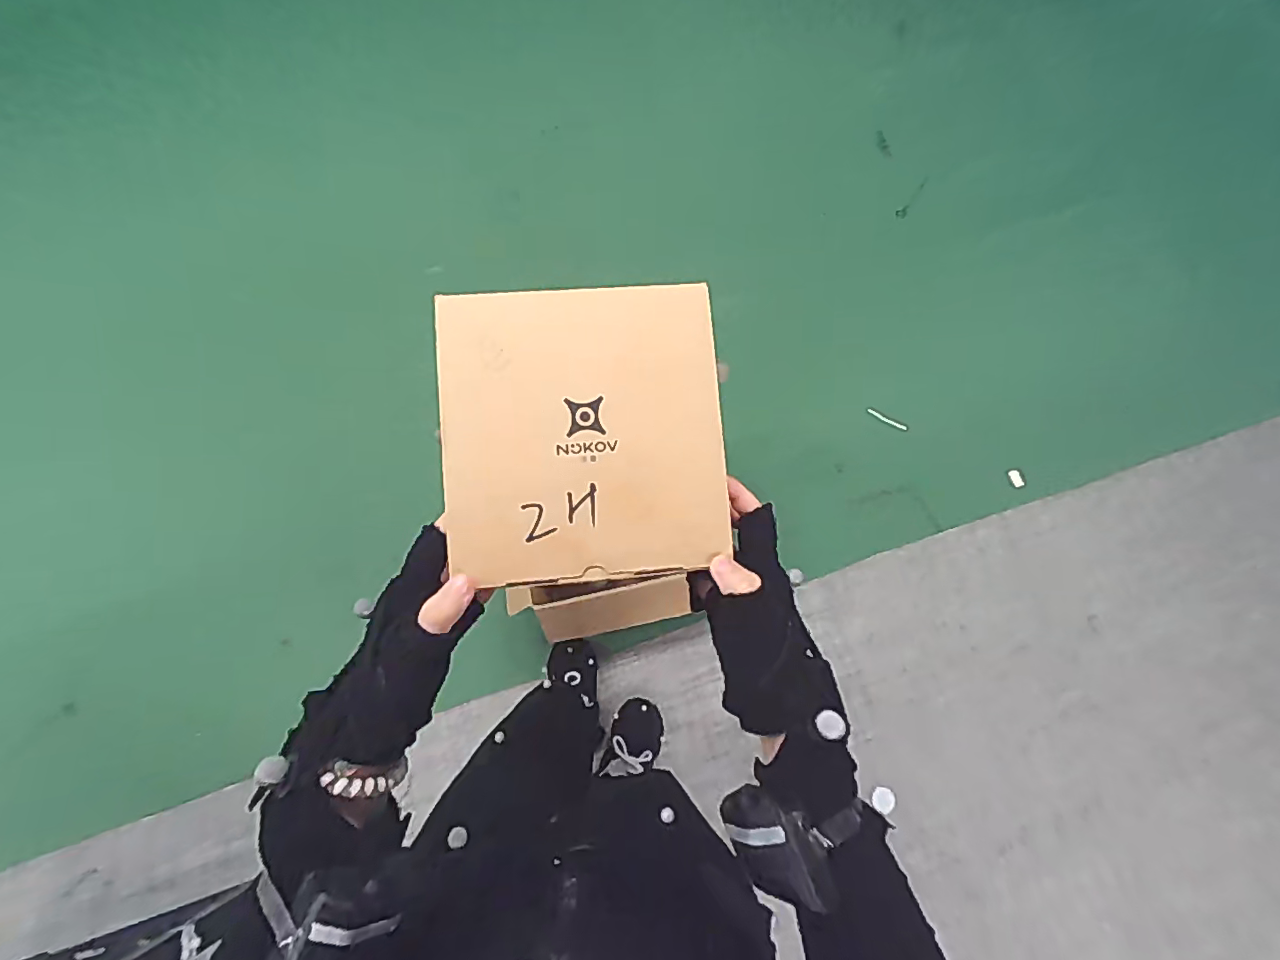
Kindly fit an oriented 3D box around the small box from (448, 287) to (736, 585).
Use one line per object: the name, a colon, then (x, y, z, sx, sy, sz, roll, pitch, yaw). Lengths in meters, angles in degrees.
small box: (-0.035, -0.022, 0.400, 0.168, 0.176, 0.179, -4, 86, -4)
